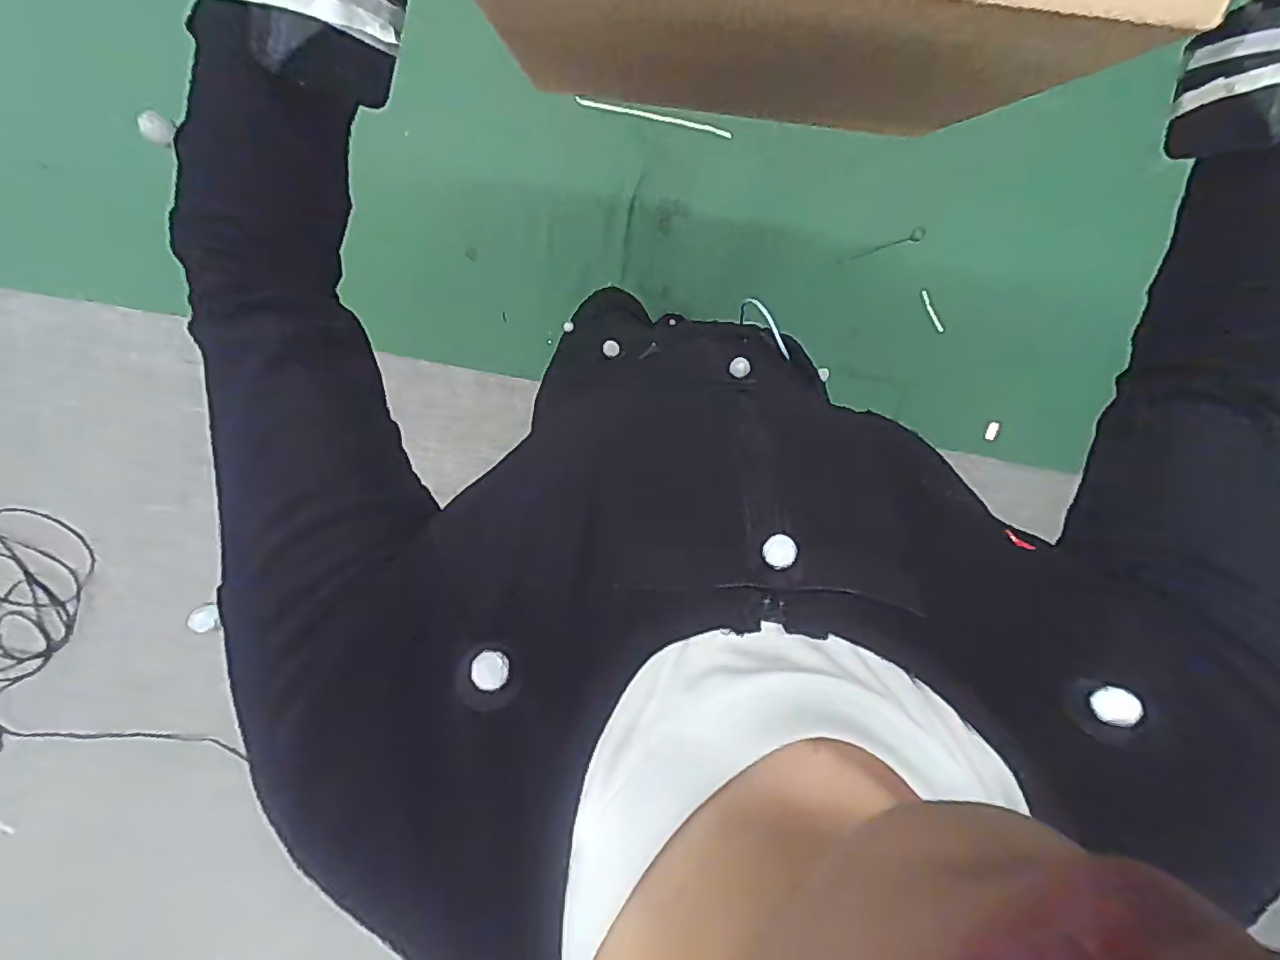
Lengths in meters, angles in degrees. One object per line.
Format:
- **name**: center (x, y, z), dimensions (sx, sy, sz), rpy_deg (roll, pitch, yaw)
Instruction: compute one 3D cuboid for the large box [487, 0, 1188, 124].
- **large box**: center (0.105, -0.460, 0.359), dimensions (0.408, 0.320, 0.320), rpy_deg (4, 114, -2)
